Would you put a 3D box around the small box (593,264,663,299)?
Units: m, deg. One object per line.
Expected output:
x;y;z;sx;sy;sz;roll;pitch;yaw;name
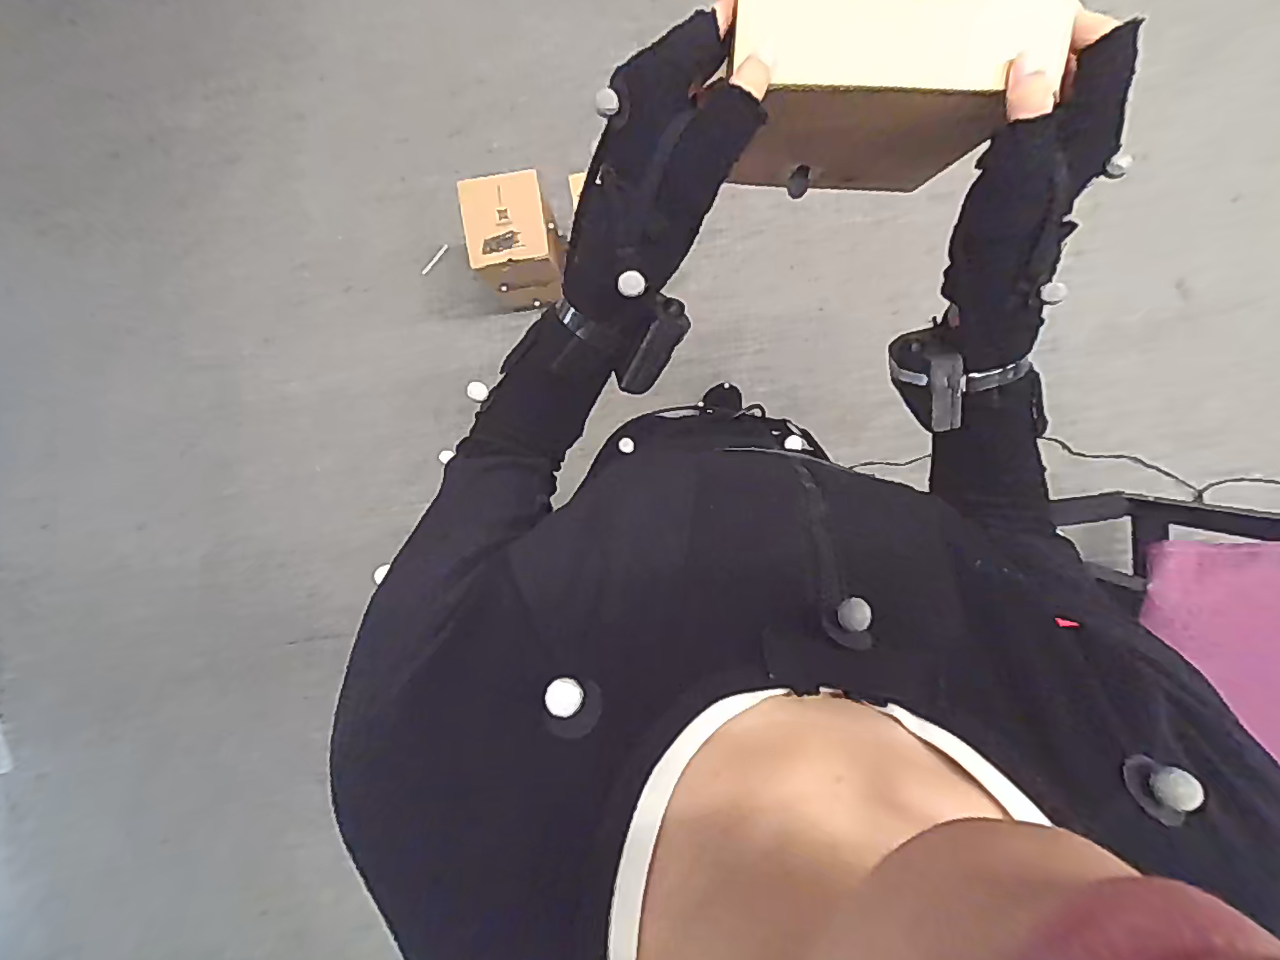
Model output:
-0.038;-0.563;1.326;0.168;0.176;0.179;-9;95;2;small box

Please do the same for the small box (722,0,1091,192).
0.144;-0.301;0.334;0.168;0.176;0.179;3;103;3;small box
